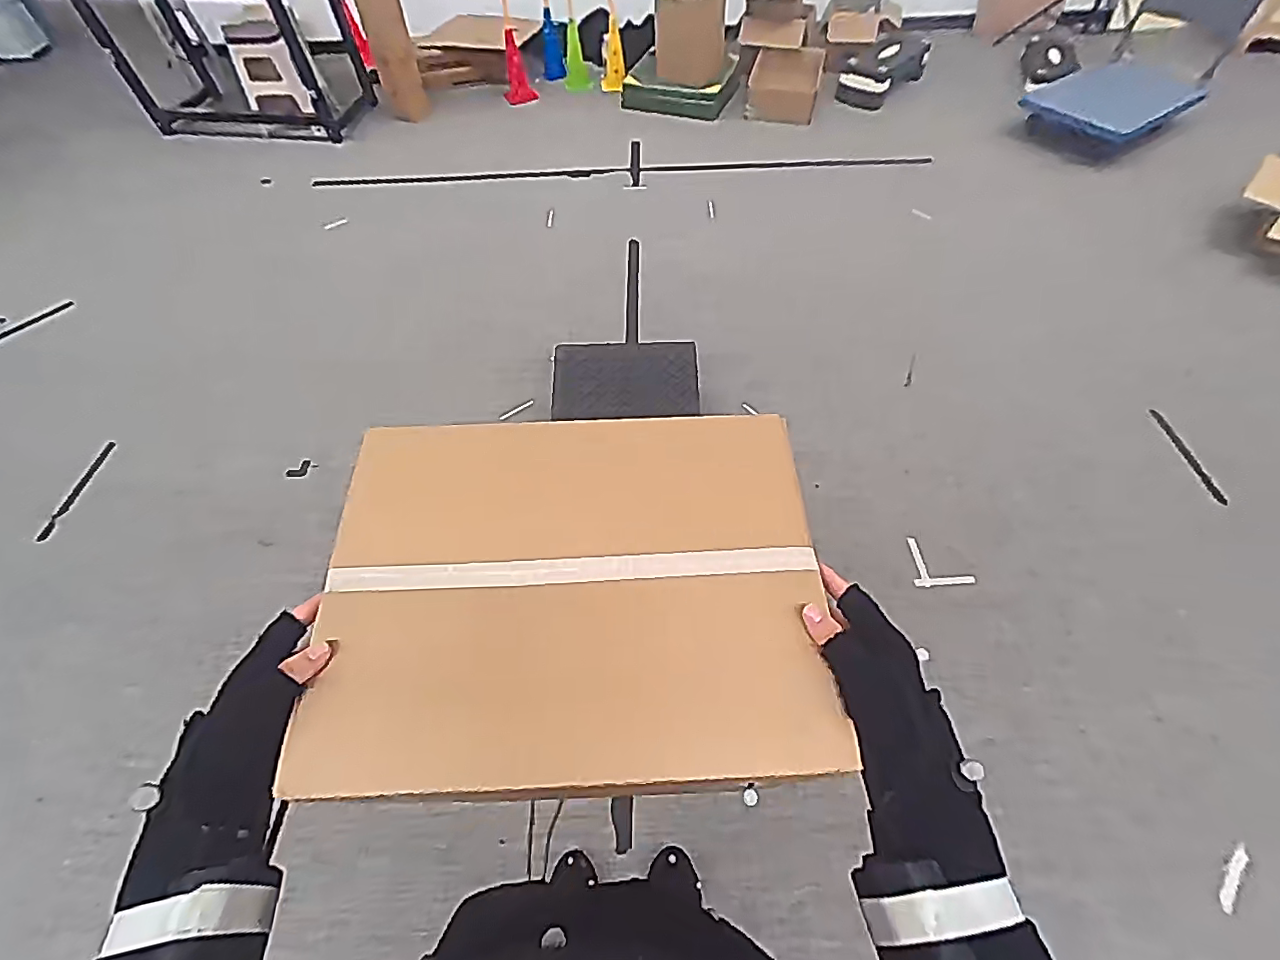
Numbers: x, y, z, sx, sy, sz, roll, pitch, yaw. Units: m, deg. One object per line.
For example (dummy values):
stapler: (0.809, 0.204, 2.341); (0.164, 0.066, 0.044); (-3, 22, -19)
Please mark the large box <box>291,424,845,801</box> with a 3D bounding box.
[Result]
large box: (-0.055, 0.158, 0.587); (0.408, 0.320, 0.320); (-2, 58, -2)
